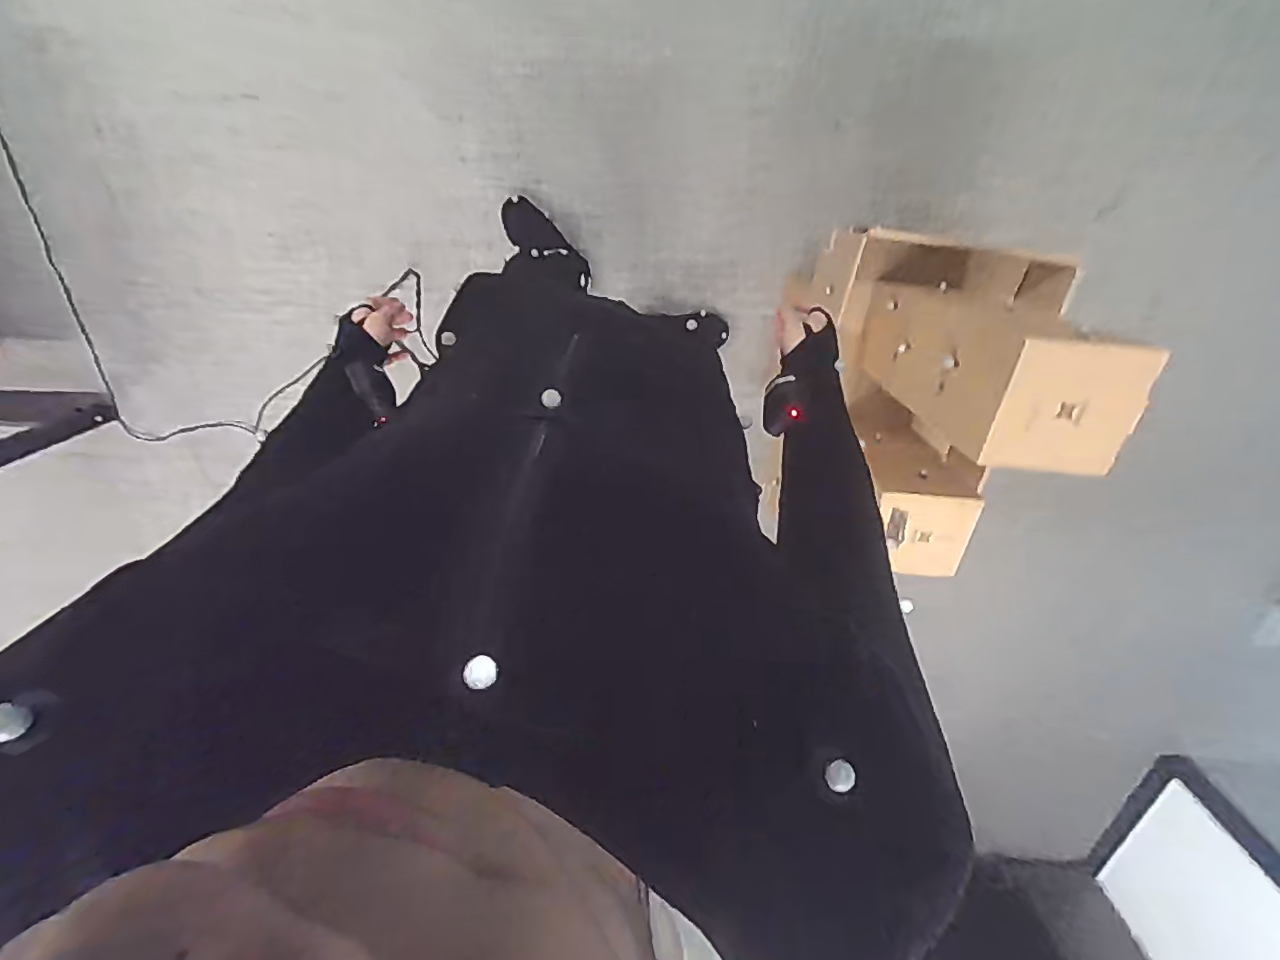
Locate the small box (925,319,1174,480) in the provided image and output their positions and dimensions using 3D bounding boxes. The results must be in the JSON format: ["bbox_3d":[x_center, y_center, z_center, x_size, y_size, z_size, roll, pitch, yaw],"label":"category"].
[{"bbox_3d":[0.530,-0.116,0.733,0.179,0.176,0.168,6,116,-2],"label":"small box"}]

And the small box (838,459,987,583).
[{"bbox_3d":[0.493,0.070,1.012,0.179,0.176,0.168,5,117,-1],"label":"small box"}]

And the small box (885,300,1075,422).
[{"bbox_3d":[0.535,-0.190,0.878,0.179,0.176,0.168,5,116,-1],"label":"small box"}]

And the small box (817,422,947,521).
[{"bbox_3d":[0.504,-0.011,1.155,0.179,0.176,0.168,9,117,-3],"label":"small box"}]
